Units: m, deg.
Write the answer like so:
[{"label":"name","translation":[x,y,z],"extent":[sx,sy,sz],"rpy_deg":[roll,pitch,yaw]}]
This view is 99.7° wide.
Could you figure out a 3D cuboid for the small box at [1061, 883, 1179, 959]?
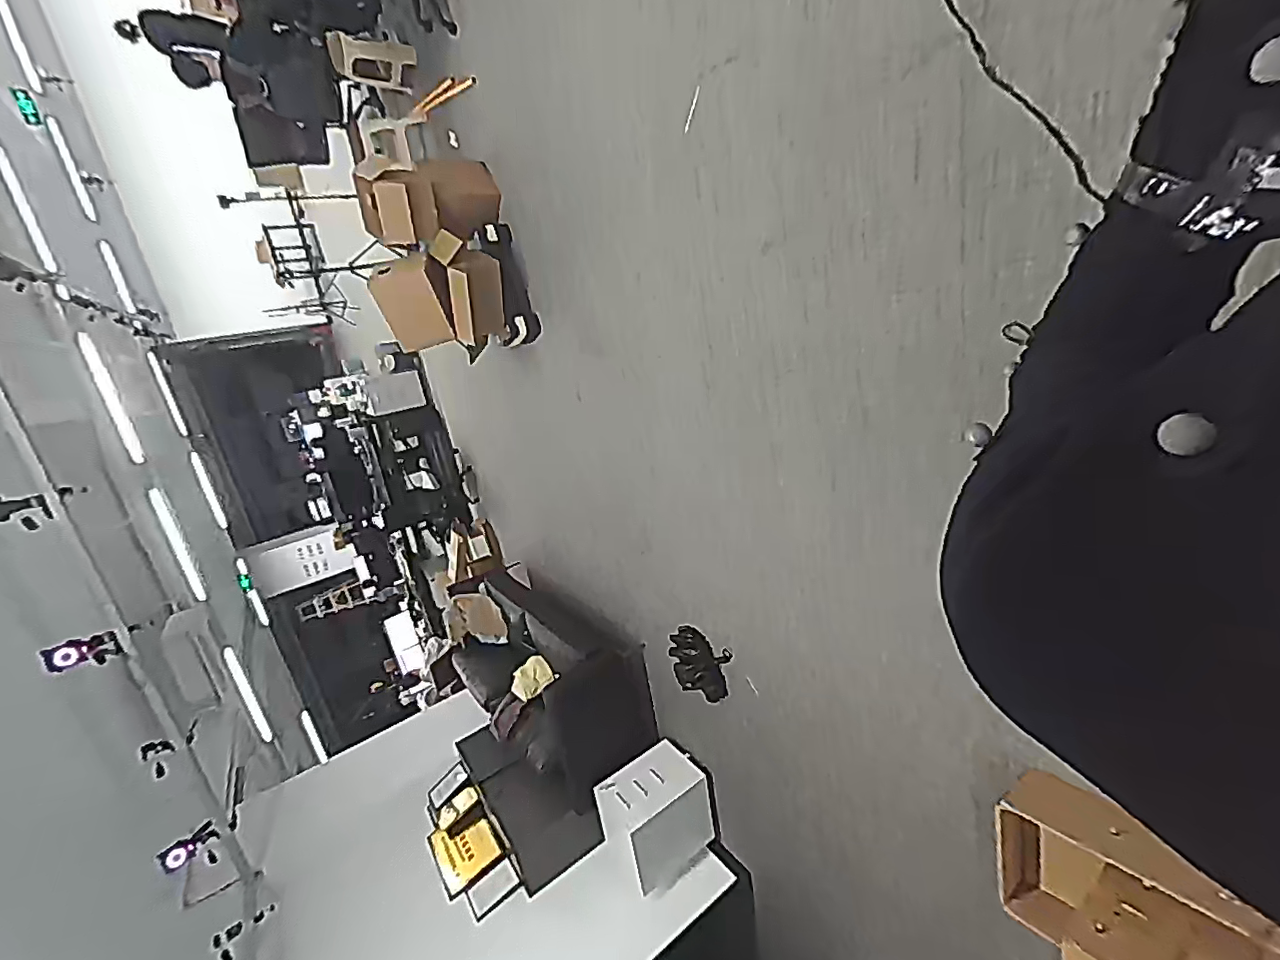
[{"label":"small box","translation":[1.099,1.092,1.242],"extent":[0.168,0.176,0.179],"rpy_deg":[13,121,55]}]

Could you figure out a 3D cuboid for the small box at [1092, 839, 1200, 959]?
[{"label":"small box","translation":[1.229,1.039,1.323],"extent":[0.168,0.176,0.179],"rpy_deg":[14,120,54]}]
